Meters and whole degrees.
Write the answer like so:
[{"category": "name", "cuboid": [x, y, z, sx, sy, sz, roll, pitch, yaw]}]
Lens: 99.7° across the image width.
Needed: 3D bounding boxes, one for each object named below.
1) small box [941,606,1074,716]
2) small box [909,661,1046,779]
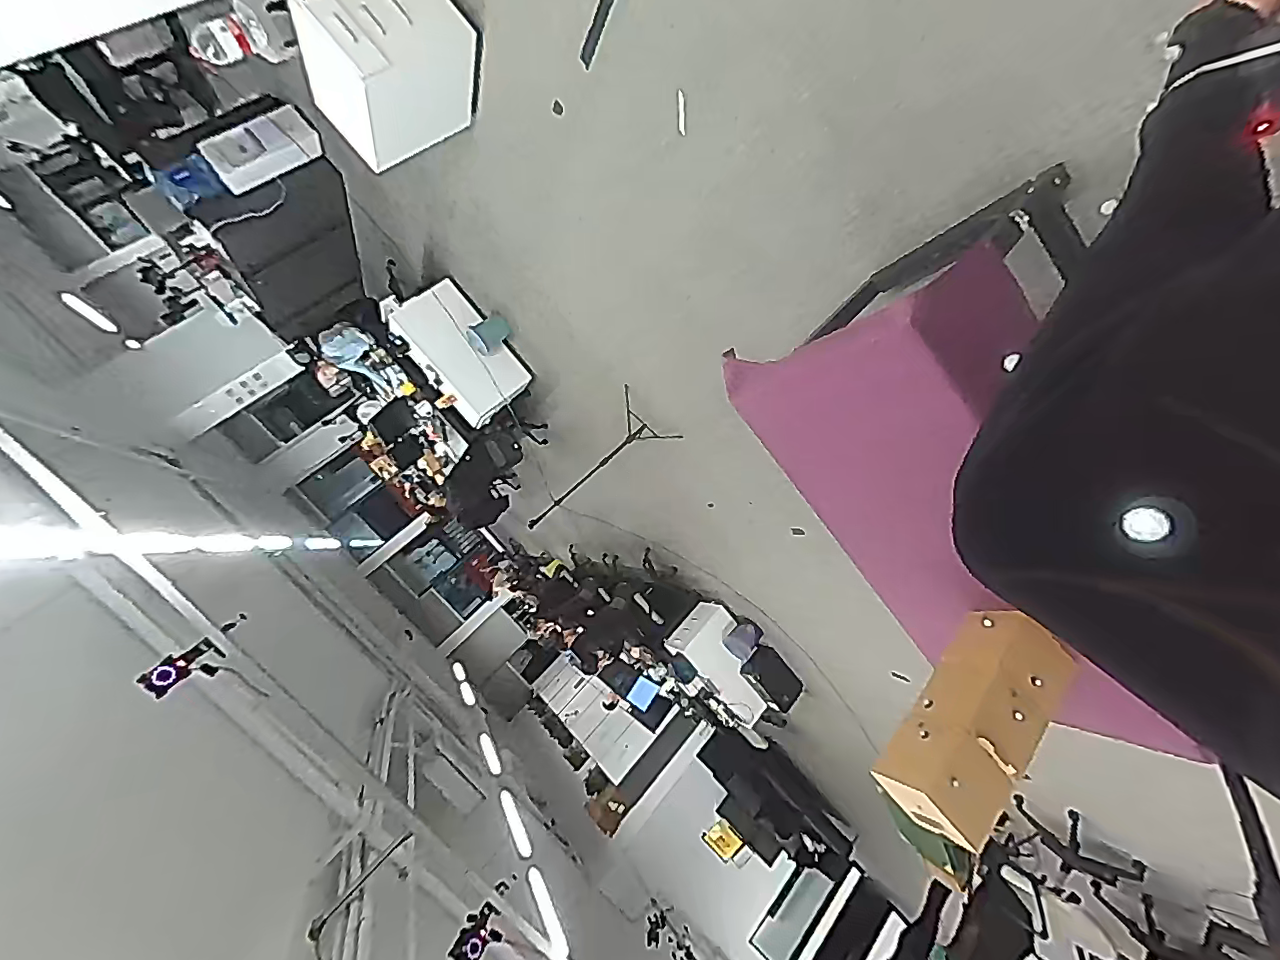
[{"category": "small box", "cuboid": [0.882, 0.426, 1.297, 0.179, 0.176, 0.168, 47, 159, -1]}, {"category": "small box", "cuboid": [0.775, 0.540, 1.245, 0.168, 0.176, 0.179, 46, 159, 0]}]
